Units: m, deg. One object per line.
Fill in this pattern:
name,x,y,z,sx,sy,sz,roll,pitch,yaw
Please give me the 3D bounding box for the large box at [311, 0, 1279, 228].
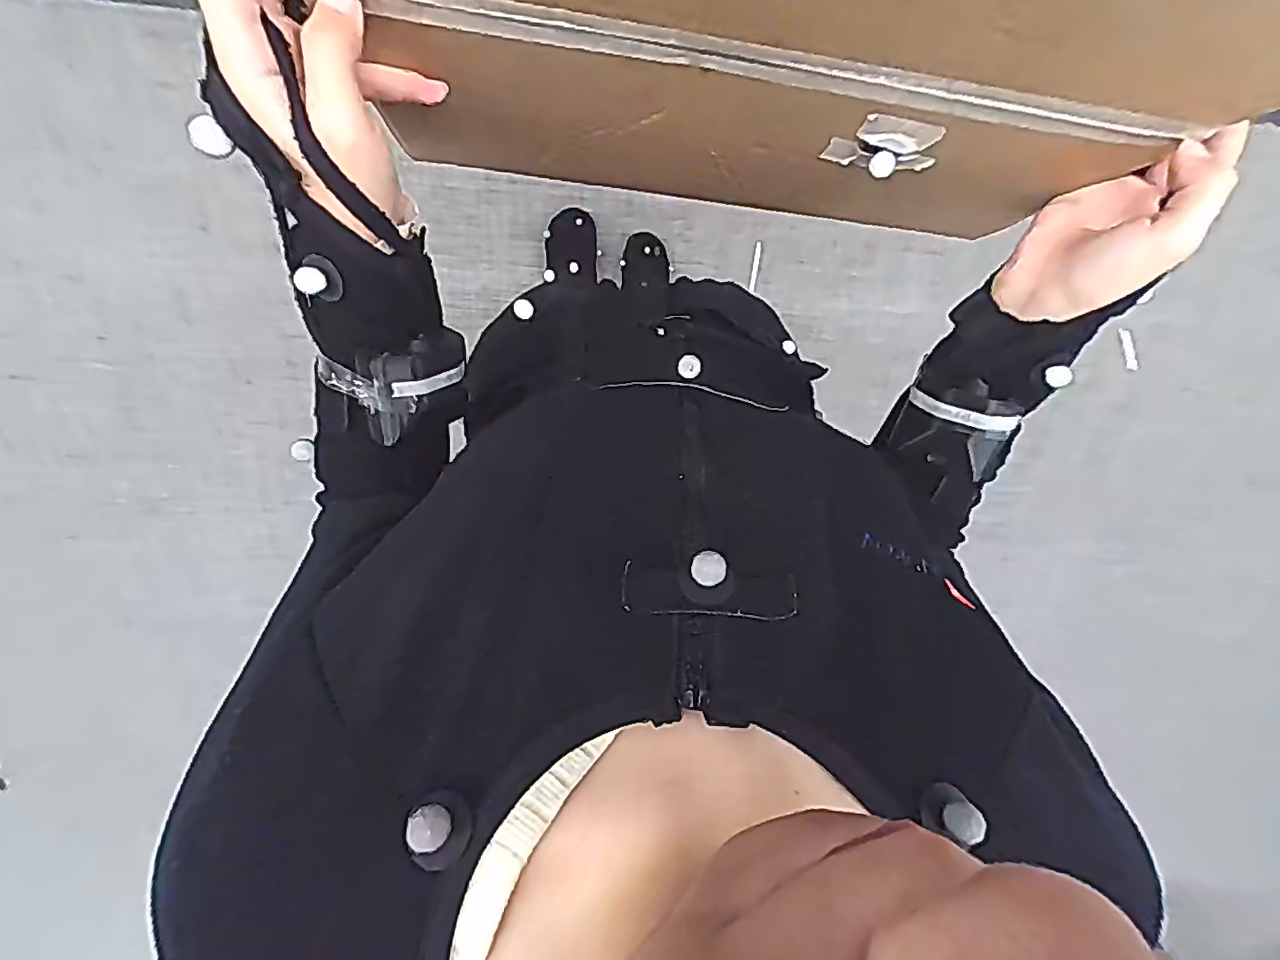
large box,0.072,-0.331,0.215,0.408,0.320,0.320,3,97,-7
